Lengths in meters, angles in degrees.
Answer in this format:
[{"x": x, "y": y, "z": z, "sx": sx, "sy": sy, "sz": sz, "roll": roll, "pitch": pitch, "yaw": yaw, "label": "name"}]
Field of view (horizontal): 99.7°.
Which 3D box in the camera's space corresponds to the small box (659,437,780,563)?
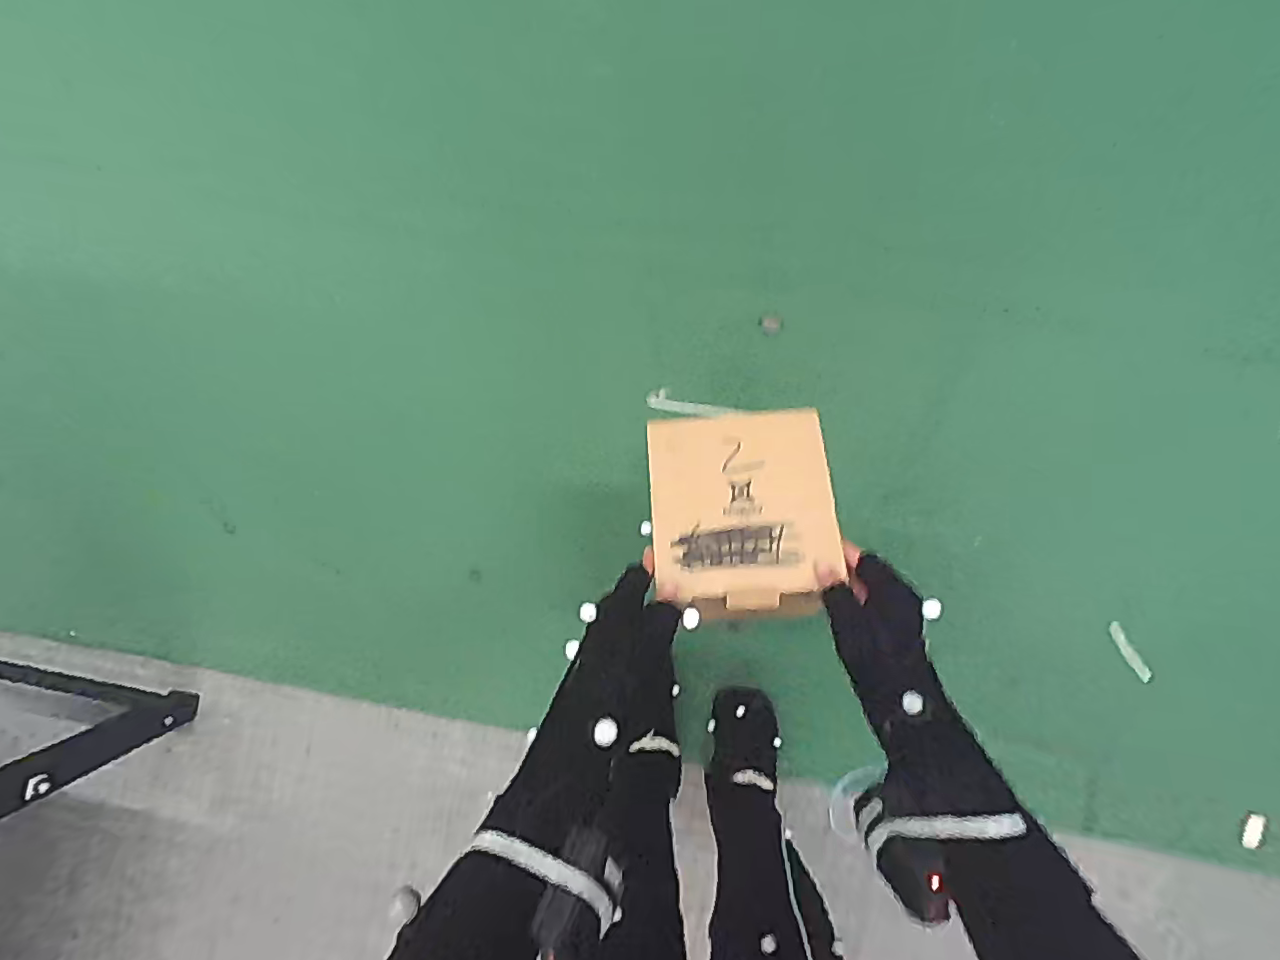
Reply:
[{"x": 0.130, "y": 0.032, "z": 0.929, "sx": 0.168, "sy": 0.176, "sz": 0.179, "roll": 10, "pitch": 89, "yaw": 3, "label": "small box"}]
